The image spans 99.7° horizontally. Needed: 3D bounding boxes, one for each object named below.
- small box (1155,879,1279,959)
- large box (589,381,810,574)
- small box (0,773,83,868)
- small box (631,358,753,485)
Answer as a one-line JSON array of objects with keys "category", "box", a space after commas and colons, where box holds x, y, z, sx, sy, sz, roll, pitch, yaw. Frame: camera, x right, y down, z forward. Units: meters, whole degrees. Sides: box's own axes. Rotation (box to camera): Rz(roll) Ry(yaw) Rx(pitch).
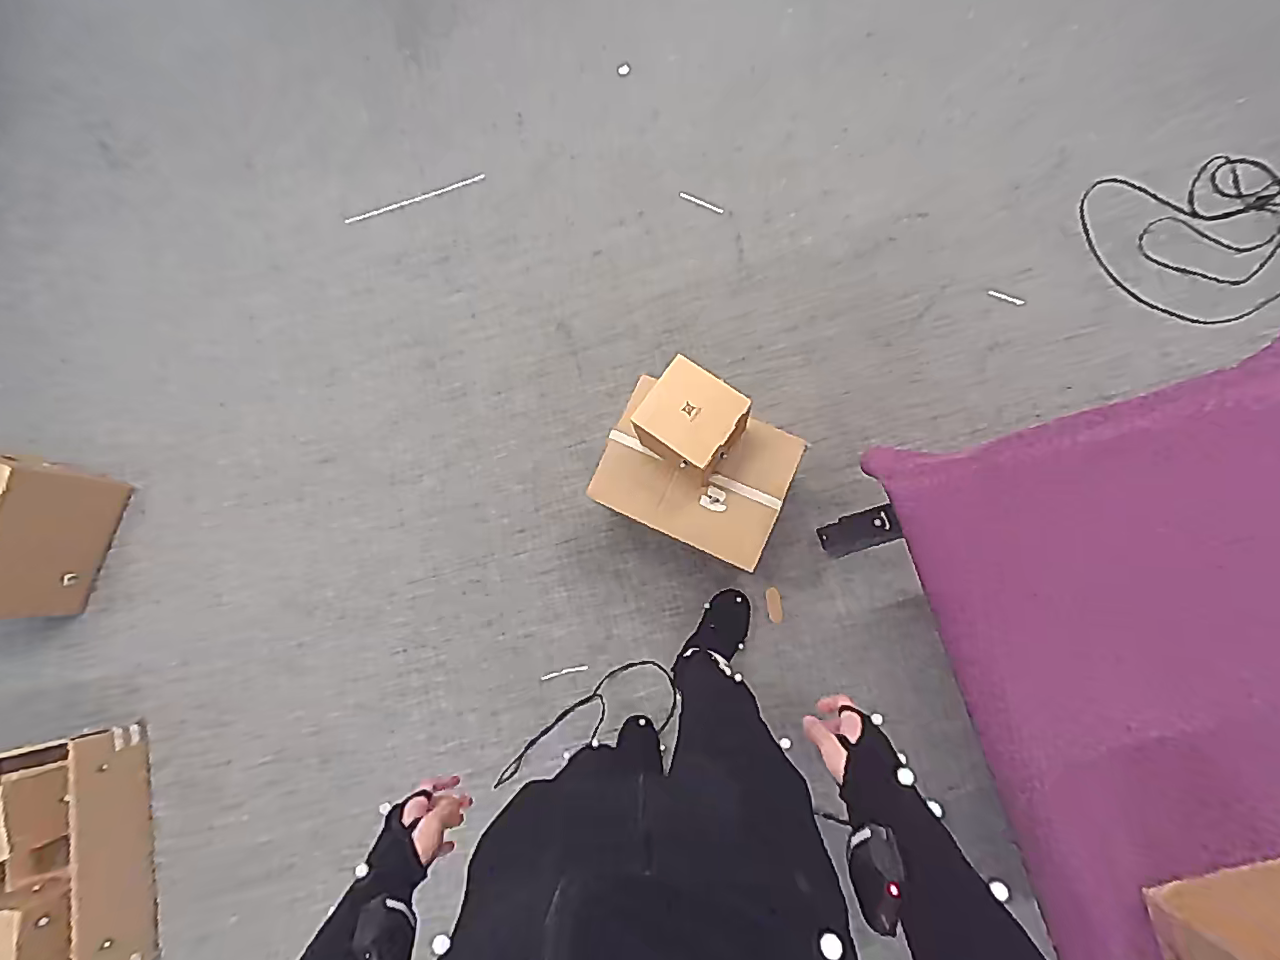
[{"category": "small box", "box": [0.650, 0.502, 0.492, 0.179, 0.176, 0.168, -14, 78, 3]}, {"category": "large box", "box": [0.139, 0.009, 1.318, 0.408, 0.320, 0.320, 24, 85, 9]}, {"category": "small box", "box": [-1.599, 0.880, 1.389, 0.168, 0.176, 0.179, -19, 79, 2]}, {"category": "small box", "box": [0.104, -0.108, 1.094, 0.179, 0.176, 0.168, 35, 84, 11]}]
